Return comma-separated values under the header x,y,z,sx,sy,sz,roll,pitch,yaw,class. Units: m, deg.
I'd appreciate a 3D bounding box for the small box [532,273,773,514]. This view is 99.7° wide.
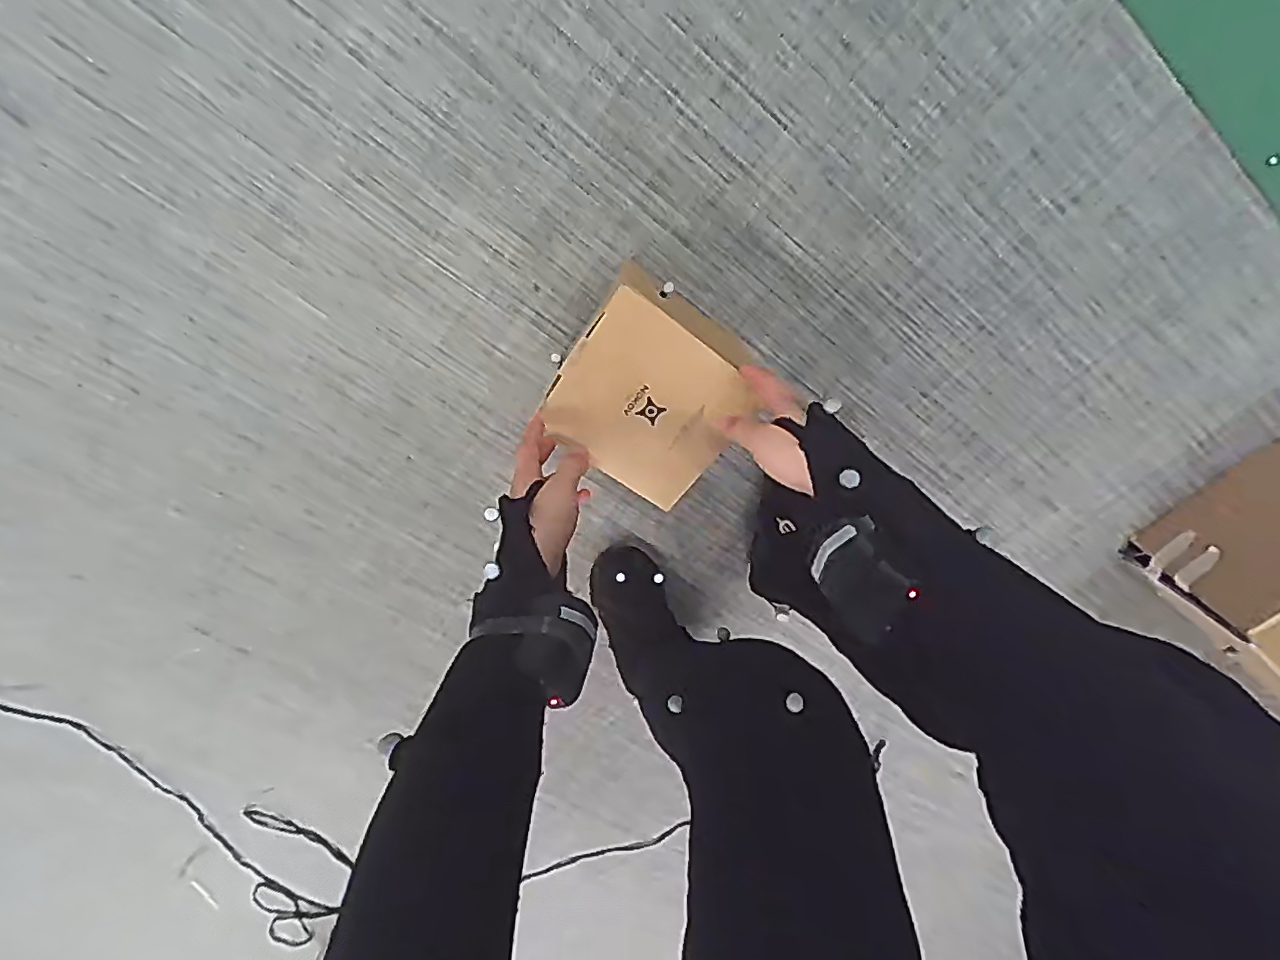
x,y,z,sx,sy,sz,roll,pitch,yaw,class
0.011,-0.102,0.584,0.179,0.176,0.168,32,116,-16,small box

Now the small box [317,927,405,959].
x,y,z,sx,sy,sz,roll,pitch,yaw,class
-0.707,1.233,1.316,0.179,0.176,0.168,31,114,-15,small box
